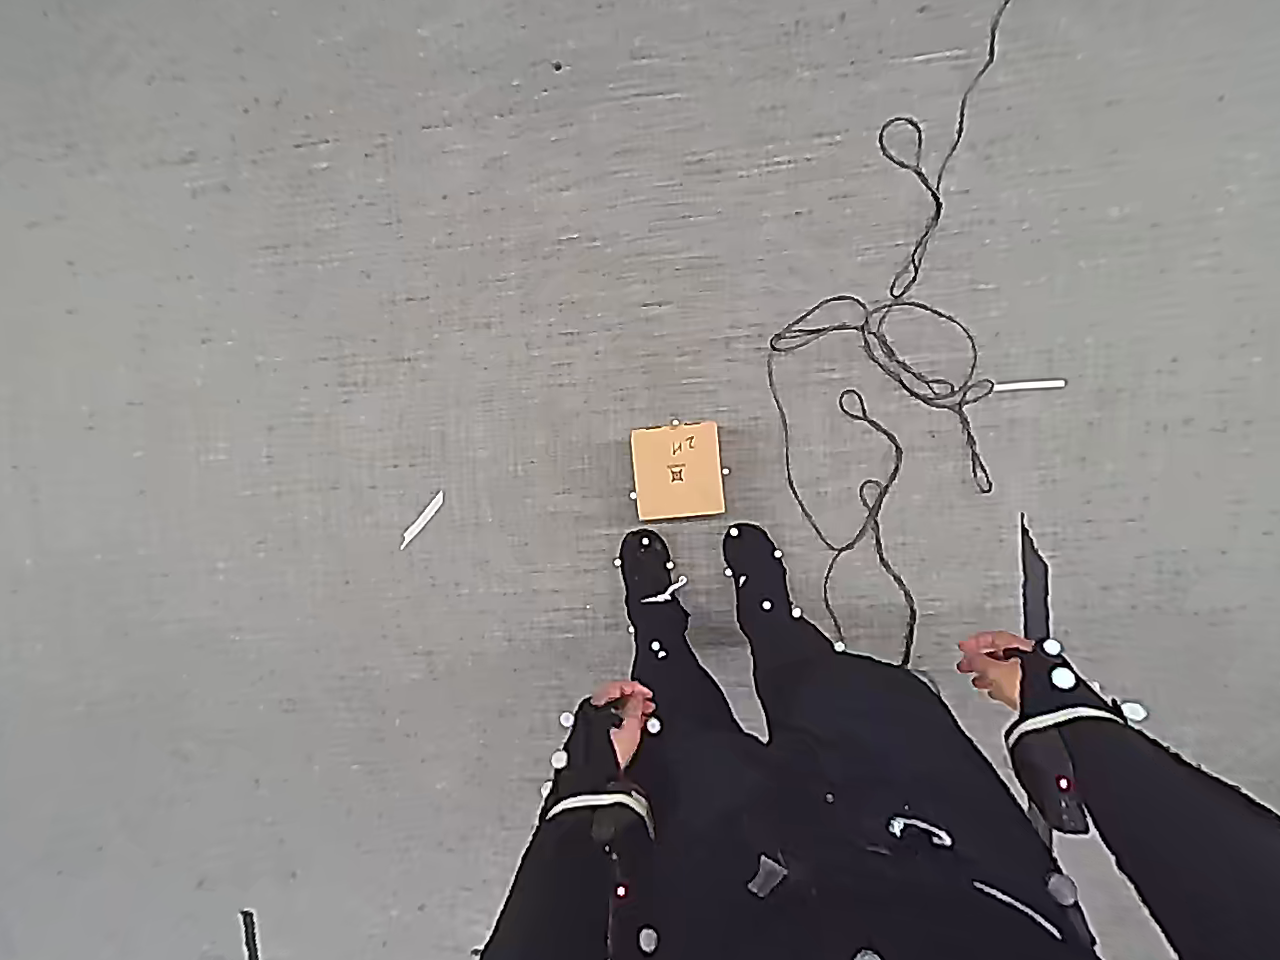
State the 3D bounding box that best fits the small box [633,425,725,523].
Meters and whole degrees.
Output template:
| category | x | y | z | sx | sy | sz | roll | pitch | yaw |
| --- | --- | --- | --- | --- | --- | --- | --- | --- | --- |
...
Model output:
| category | x | y | z | sx | sy | sz | roll | pitch | yaw |
| --- | --- | --- | --- | --- | --- | --- | --- | --- | --- |
| small box | 0.084 | -0.015 | 1.098 | 0.168 | 0.176 | 0.179 | -6 | 92 | 7 |
